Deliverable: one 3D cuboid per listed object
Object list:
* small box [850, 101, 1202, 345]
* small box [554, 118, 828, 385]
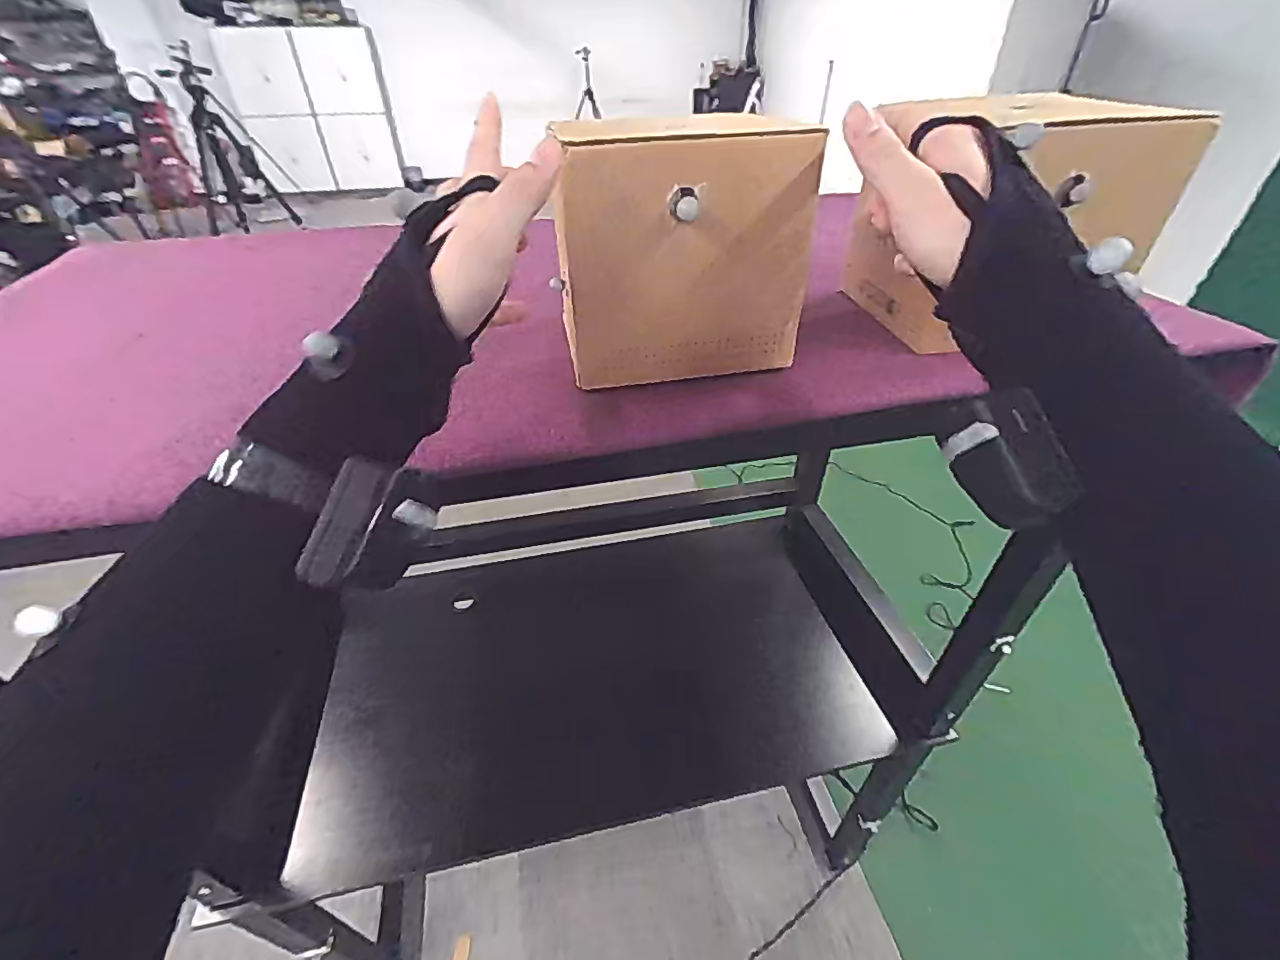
[{"bbox_3d":[0.310,-0.232,0.489,0.179,0.176,0.168,-6,40,-5],"label":"small box"},{"bbox_3d":[0.027,-0.195,0.454,0.179,0.176,0.168,-8,37,-8],"label":"small box"}]
